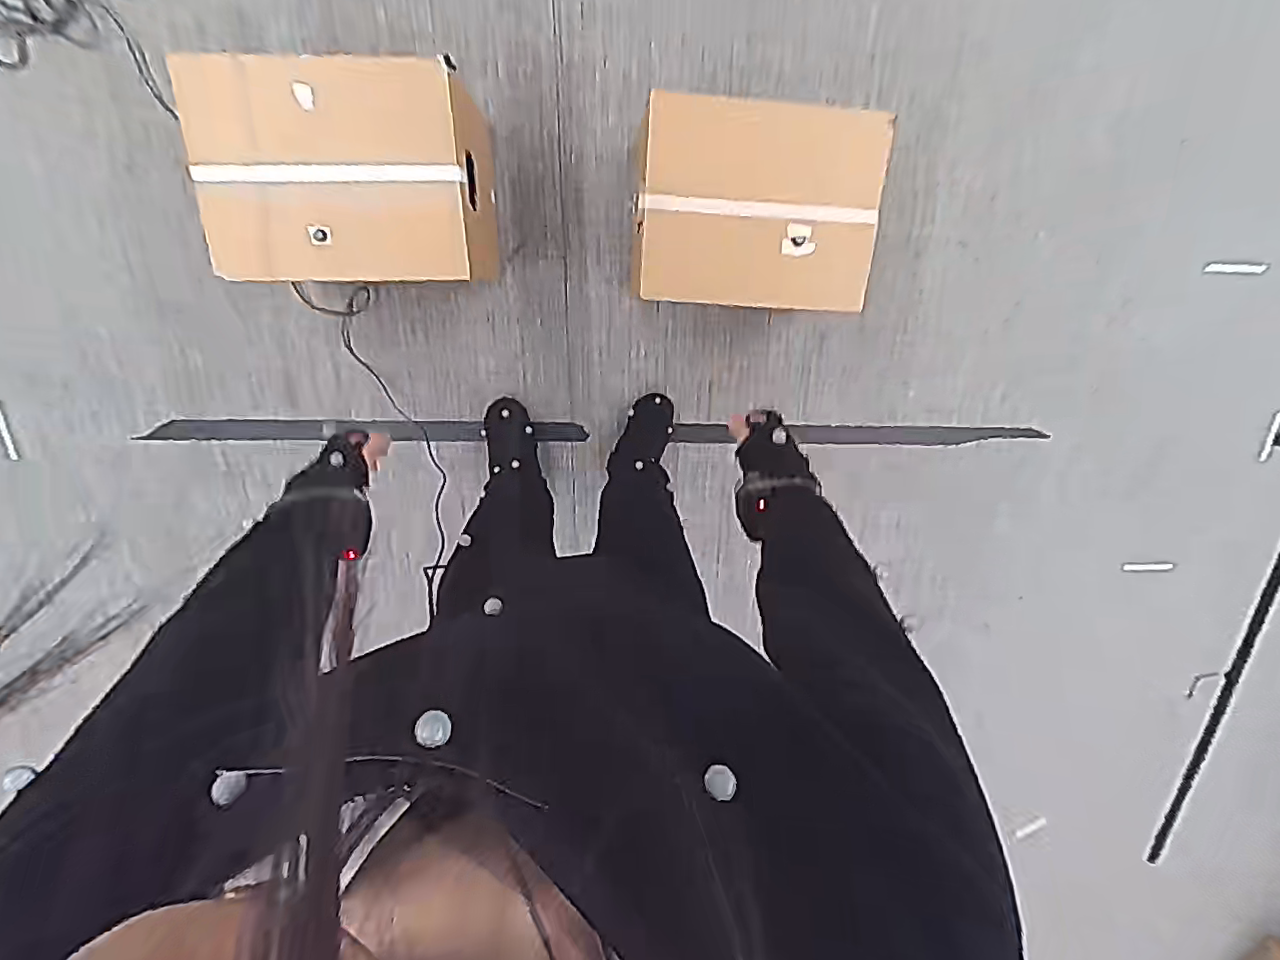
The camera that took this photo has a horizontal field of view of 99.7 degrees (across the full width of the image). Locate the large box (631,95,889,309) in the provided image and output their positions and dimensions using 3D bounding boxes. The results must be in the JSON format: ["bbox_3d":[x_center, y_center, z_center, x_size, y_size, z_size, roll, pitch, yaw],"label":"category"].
[{"bbox_3d":[0.195,-0.507,1.063,0.408,0.320,0.320,2,109,-6],"label":"large box"}]
